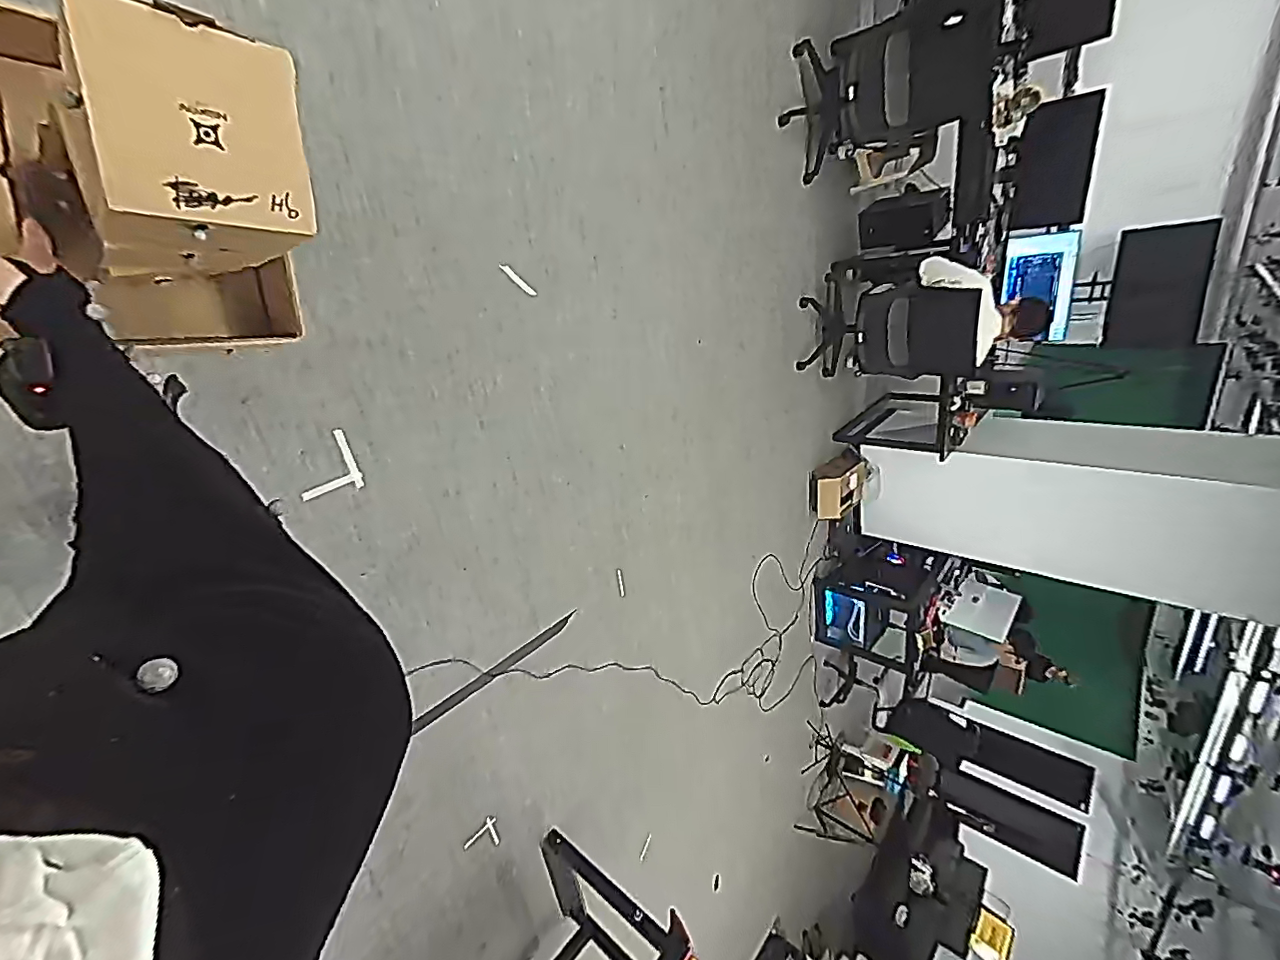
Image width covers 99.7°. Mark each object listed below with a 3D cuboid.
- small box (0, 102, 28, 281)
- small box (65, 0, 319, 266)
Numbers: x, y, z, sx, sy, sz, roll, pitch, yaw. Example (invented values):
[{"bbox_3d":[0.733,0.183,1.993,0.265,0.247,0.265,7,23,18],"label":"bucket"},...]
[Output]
[{"bbox_3d":[-0.726,-0.290,0.513,0.179,0.176,0.168,-10,105,-46],"label":"small box"},{"bbox_3d":[-0.456,-0.332,0.554,0.168,0.176,0.179,-14,107,-44],"label":"small box"}]
